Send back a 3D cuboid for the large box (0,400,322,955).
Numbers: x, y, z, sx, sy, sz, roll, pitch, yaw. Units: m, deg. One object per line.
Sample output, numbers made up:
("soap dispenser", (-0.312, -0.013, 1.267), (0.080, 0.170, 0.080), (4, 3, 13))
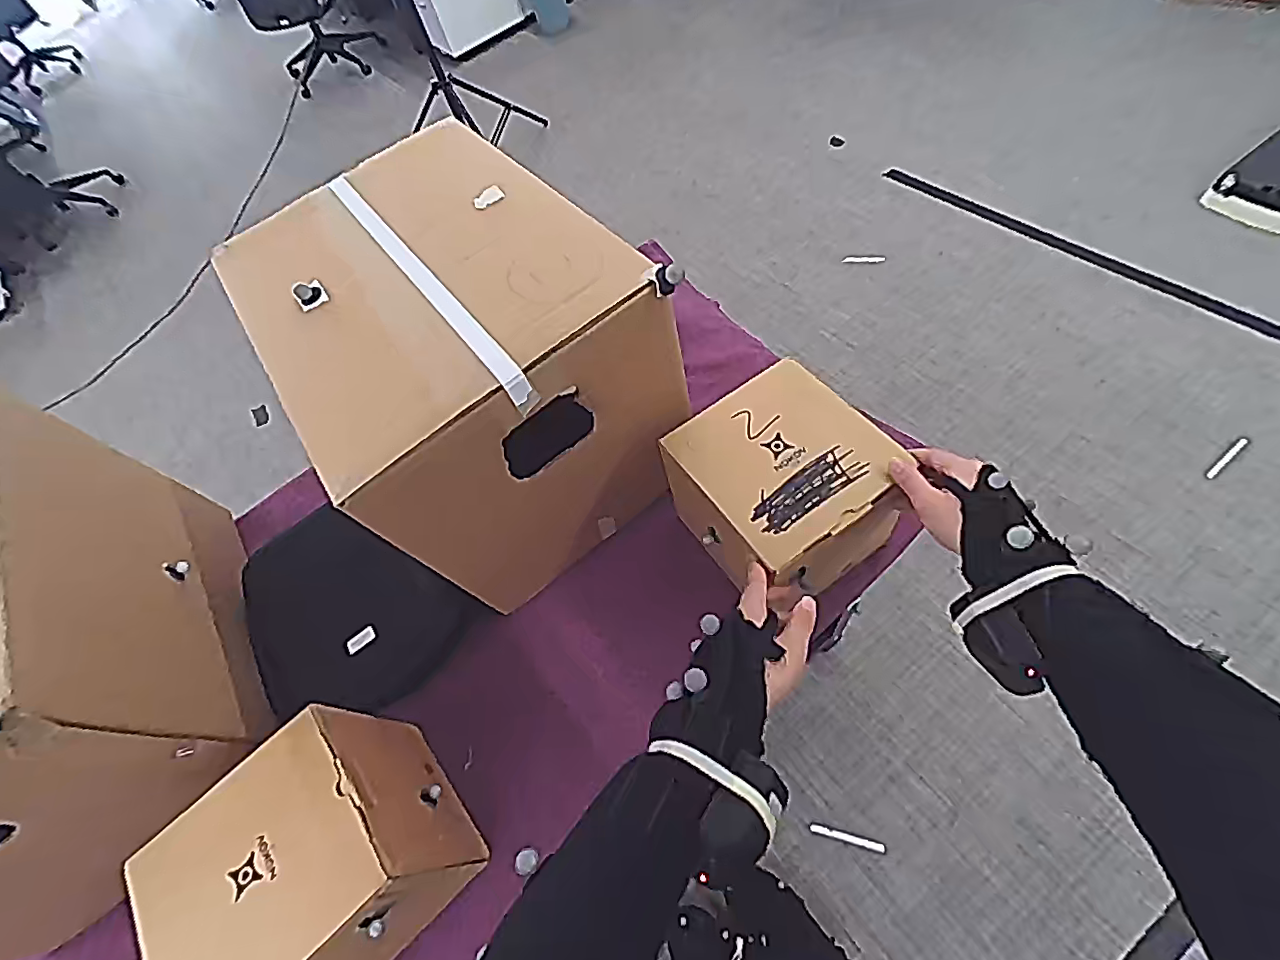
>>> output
("large box", (-0.626, 0.198, 0.561), (0.320, 0.320, 0.408), (-39, 63, -11))
